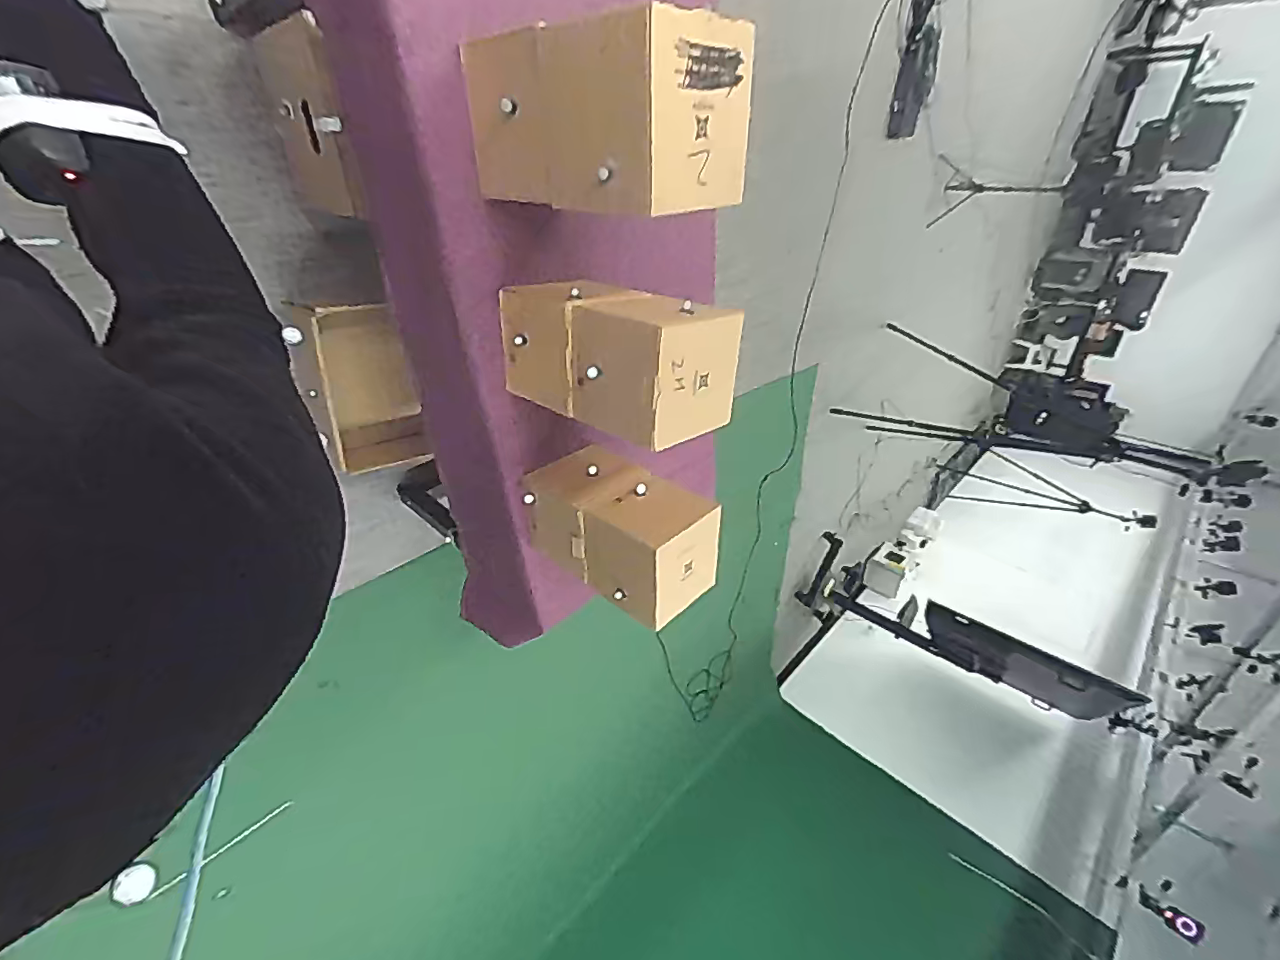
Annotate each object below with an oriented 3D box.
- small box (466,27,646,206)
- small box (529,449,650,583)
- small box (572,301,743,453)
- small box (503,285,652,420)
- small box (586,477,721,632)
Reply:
[{"bbox_3d":[-0.109,-0.467,0.719,0.168,0.176,0.179,-28,130,-36],"label":"small box"},{"bbox_3d":[-0.098,0.061,1.041,0.179,0.176,0.168,-29,131,-38],"label":"small box"},{"bbox_3d":[0.022,-0.160,0.785,0.179,0.176,0.168,-22,126,-40],"label":"small box"},{"bbox_3d":[-0.100,-0.216,0.880,0.179,0.176,0.168,-23,127,-39],"label":"small box"},{"bbox_3d":[0.020,0.121,0.945,0.168,0.176,0.179,-28,130,-38],"label":"small box"}]
